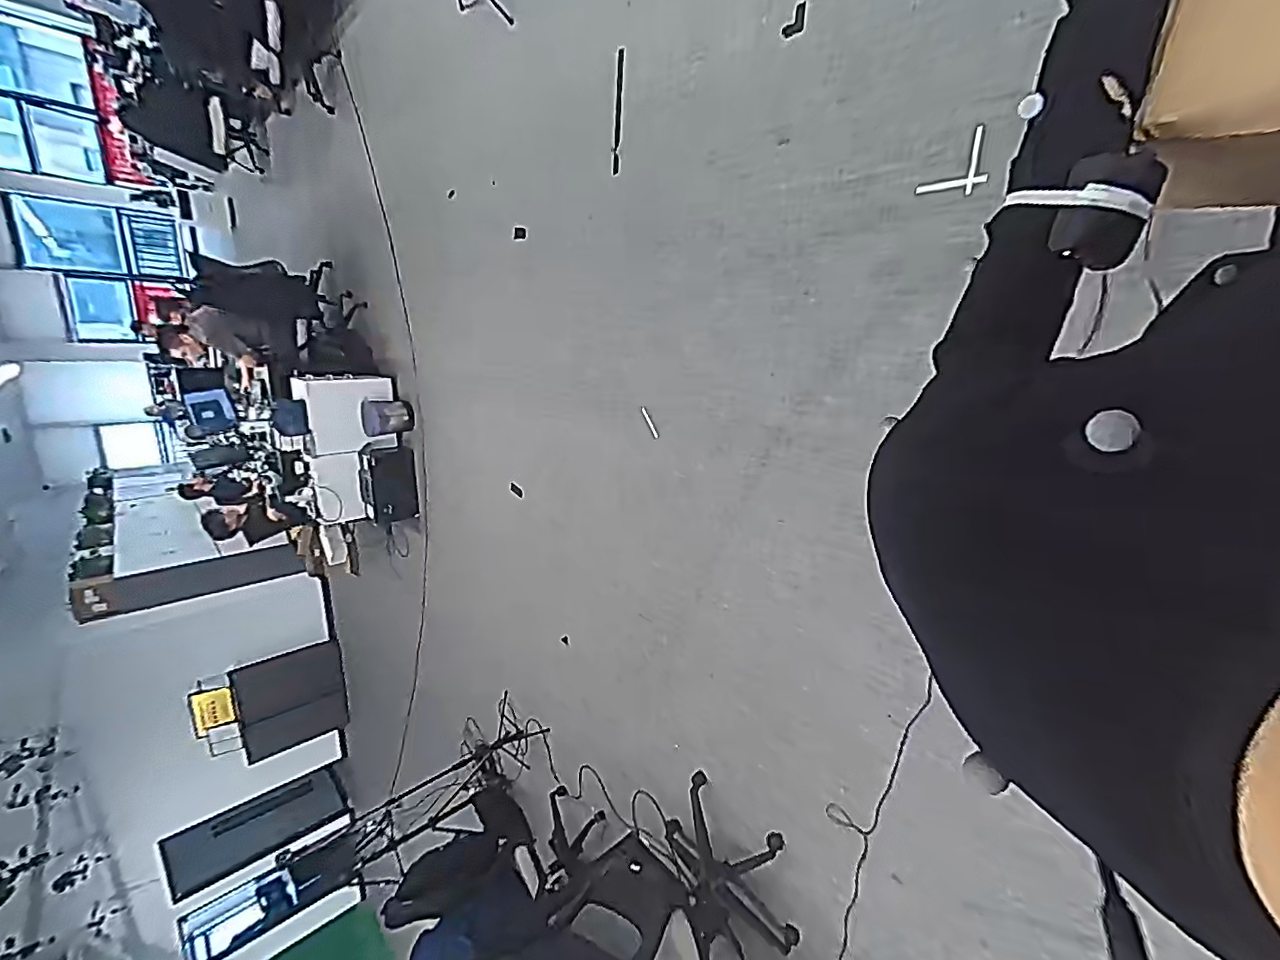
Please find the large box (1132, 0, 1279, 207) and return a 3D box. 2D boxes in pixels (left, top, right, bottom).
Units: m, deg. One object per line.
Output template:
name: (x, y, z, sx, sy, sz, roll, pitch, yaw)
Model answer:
large box: (0.600, -0.363, 0.311, 0.408, 0.320, 0.320, 21, 116, 41)
